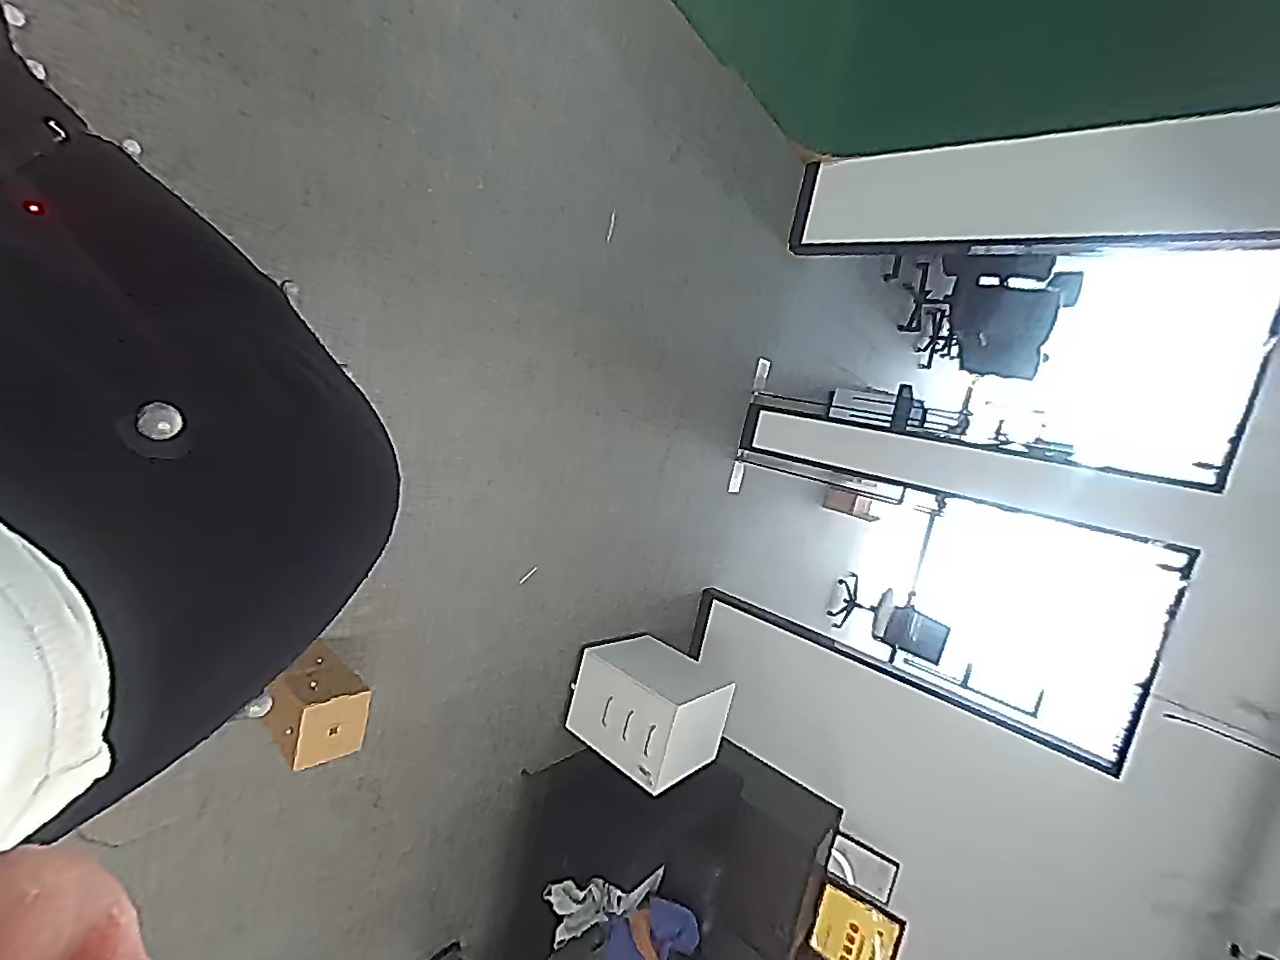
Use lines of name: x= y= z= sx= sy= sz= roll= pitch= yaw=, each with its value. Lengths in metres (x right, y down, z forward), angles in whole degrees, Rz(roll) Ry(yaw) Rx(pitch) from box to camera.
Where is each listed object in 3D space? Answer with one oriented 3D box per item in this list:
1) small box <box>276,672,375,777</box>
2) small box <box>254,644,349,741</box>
small box: x=-0.825 y=0.623 z=1.412 sx=0.168 sy=0.176 sz=0.179 roll=4 pitch=102 yaw=-52
small box: x=-0.949 y=0.584 z=1.509 sx=0.168 sy=0.176 sz=0.179 roll=7 pitch=98 yaw=-53
